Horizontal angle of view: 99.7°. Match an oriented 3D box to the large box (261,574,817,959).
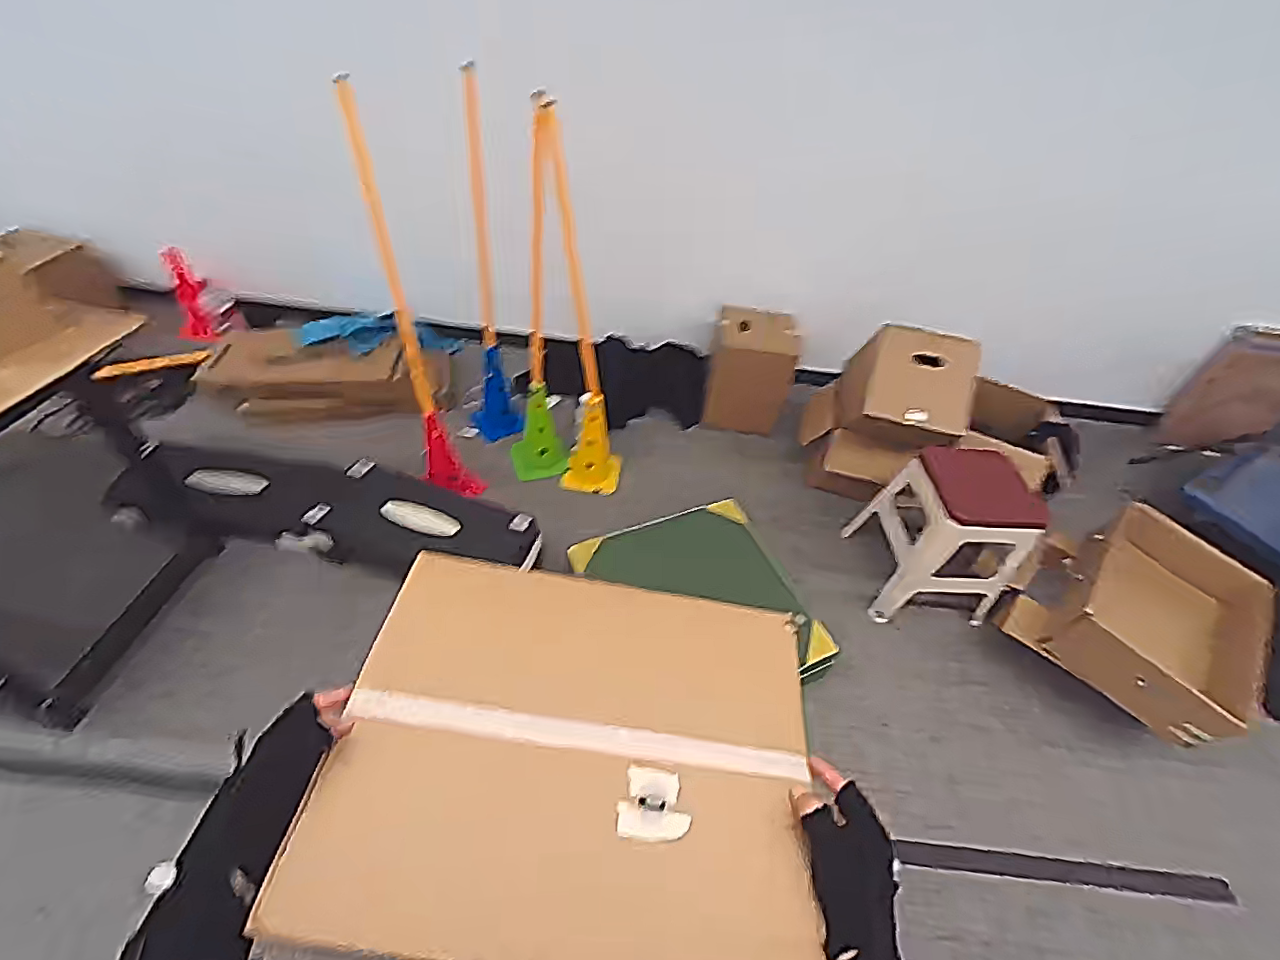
[{"bbox_3d":[-0.075,0.341,0.584,0.408,0.320,0.320,10,47,-2],"label":"large box"}]
